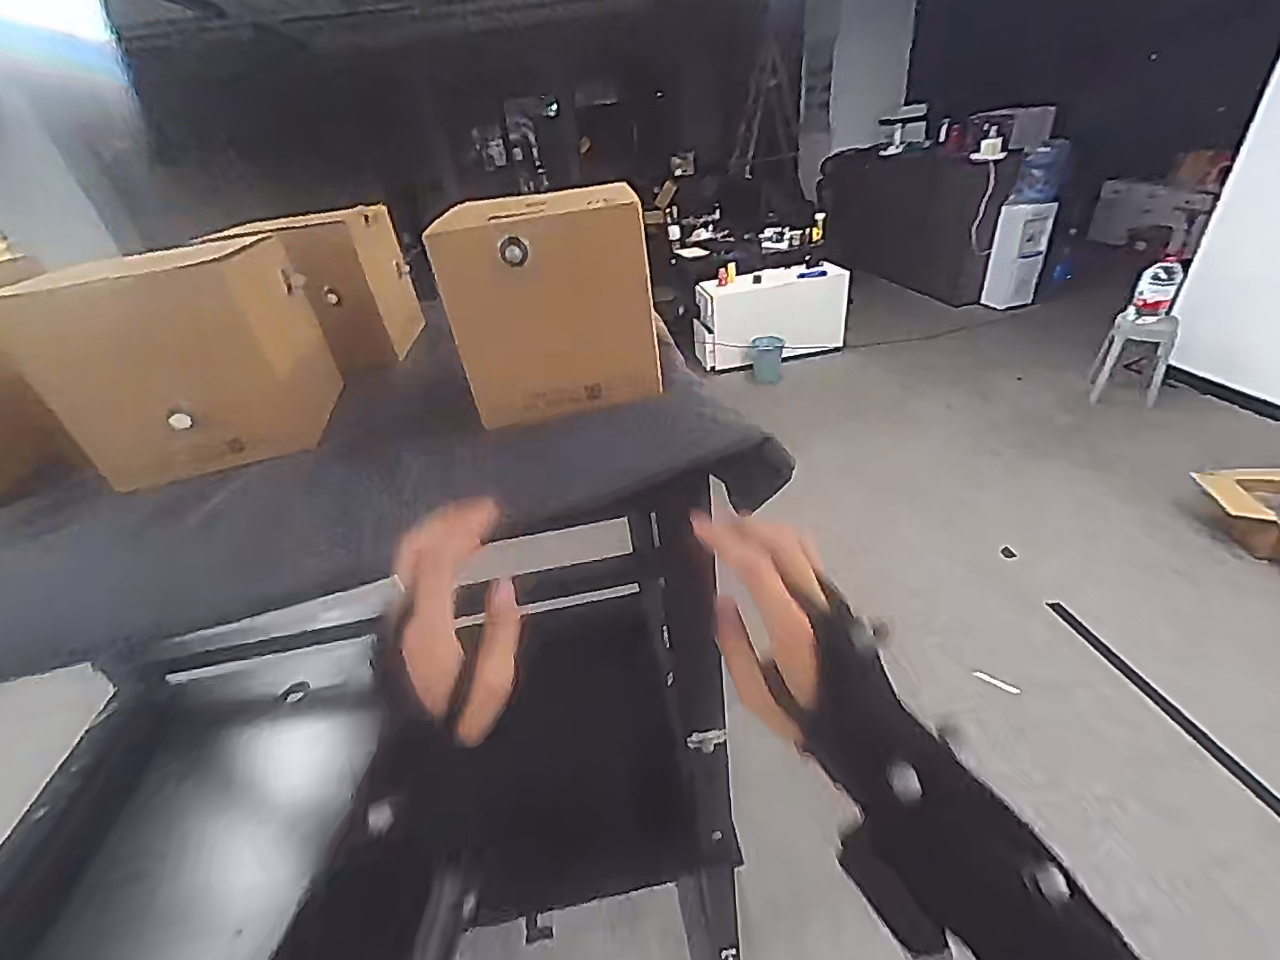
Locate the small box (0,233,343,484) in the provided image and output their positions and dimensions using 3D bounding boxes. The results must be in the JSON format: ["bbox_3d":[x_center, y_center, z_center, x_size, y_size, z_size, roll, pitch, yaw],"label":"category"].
[{"bbox_3d":[-0.405,-0.121,0.509,0.168,0.176,0.179,-15,35,-11],"label":"small box"}]

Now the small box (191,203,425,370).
[{"bbox_3d":[-0.398,-0.243,0.692,0.179,0.176,0.168,-9,33,-3],"label":"small box"}]

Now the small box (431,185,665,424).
[{"bbox_3d":[-0.073,-0.170,0.512,0.168,0.176,0.179,-9,32,0],"label":"small box"}]
